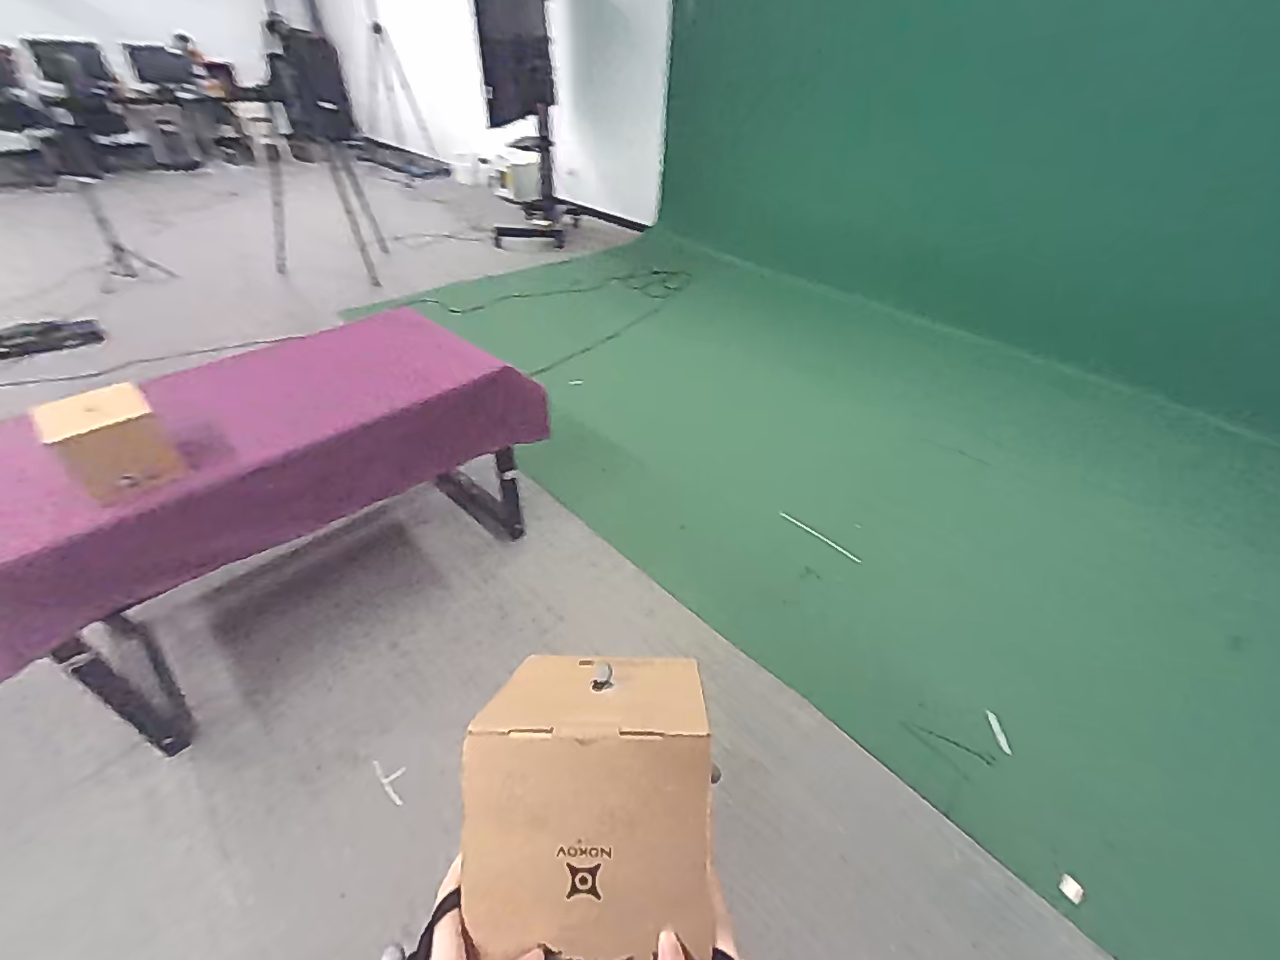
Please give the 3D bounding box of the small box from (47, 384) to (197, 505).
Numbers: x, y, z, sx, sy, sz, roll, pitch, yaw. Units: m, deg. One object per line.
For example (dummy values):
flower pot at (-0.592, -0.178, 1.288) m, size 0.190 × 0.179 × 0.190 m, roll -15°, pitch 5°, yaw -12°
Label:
small box at (-1.097, -0.076, 1.154) m, size 0.179 × 0.176 × 0.168 m, roll 33°, pitch 49°, yaw 31°

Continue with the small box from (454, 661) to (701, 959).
small box at (-0.039, 0.254, 0.439) m, size 0.168 × 0.179 × 0.176 m, roll 0°, pitch -2°, yaw 3°
